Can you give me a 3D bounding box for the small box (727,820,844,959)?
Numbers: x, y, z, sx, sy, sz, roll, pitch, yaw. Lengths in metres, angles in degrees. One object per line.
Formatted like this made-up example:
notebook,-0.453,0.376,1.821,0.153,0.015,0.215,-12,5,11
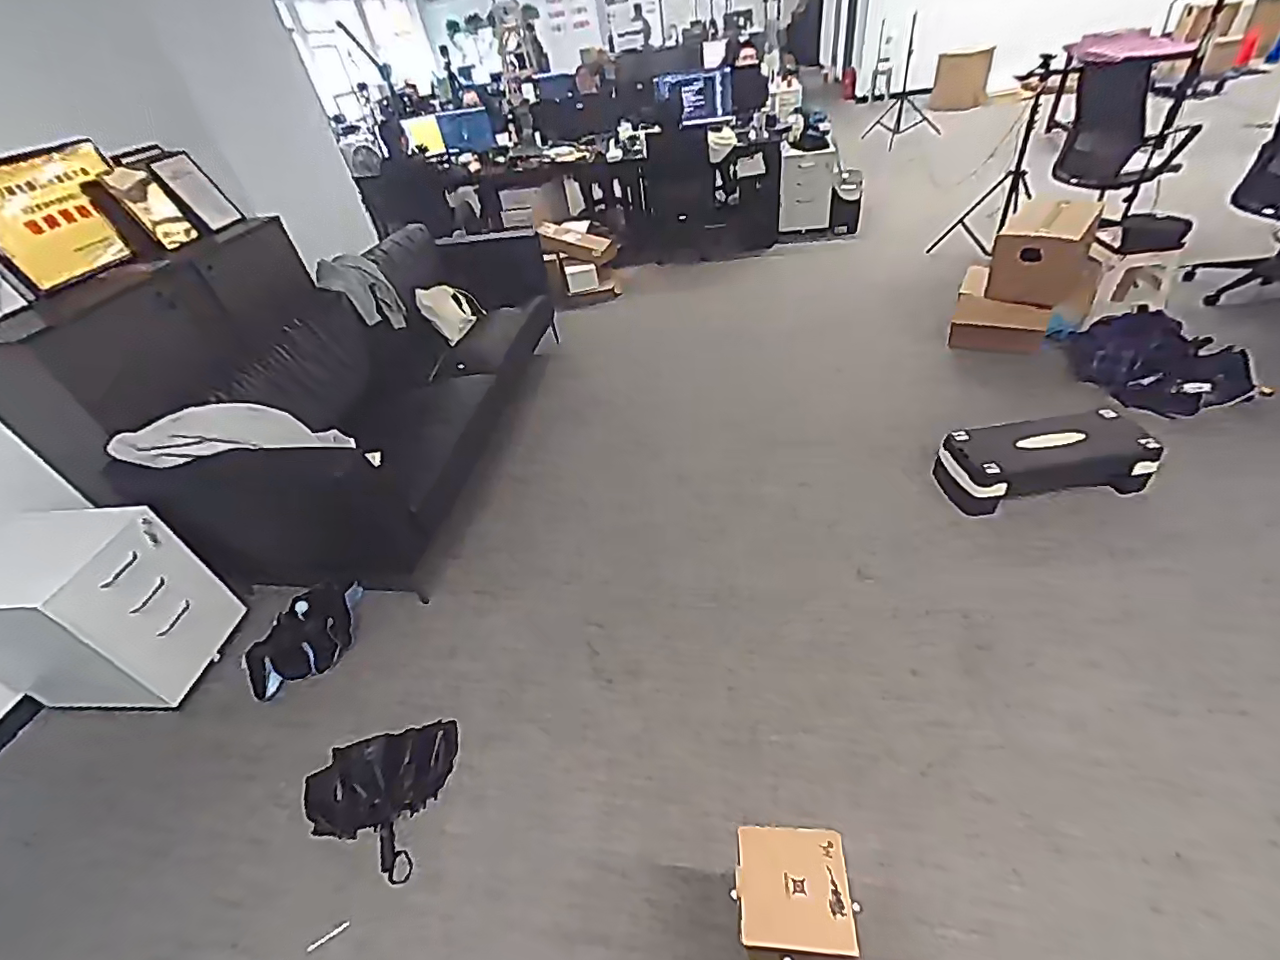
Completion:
small box,0.246,0.716,0.938,0.179,0.176,0.168,-3,41,10
